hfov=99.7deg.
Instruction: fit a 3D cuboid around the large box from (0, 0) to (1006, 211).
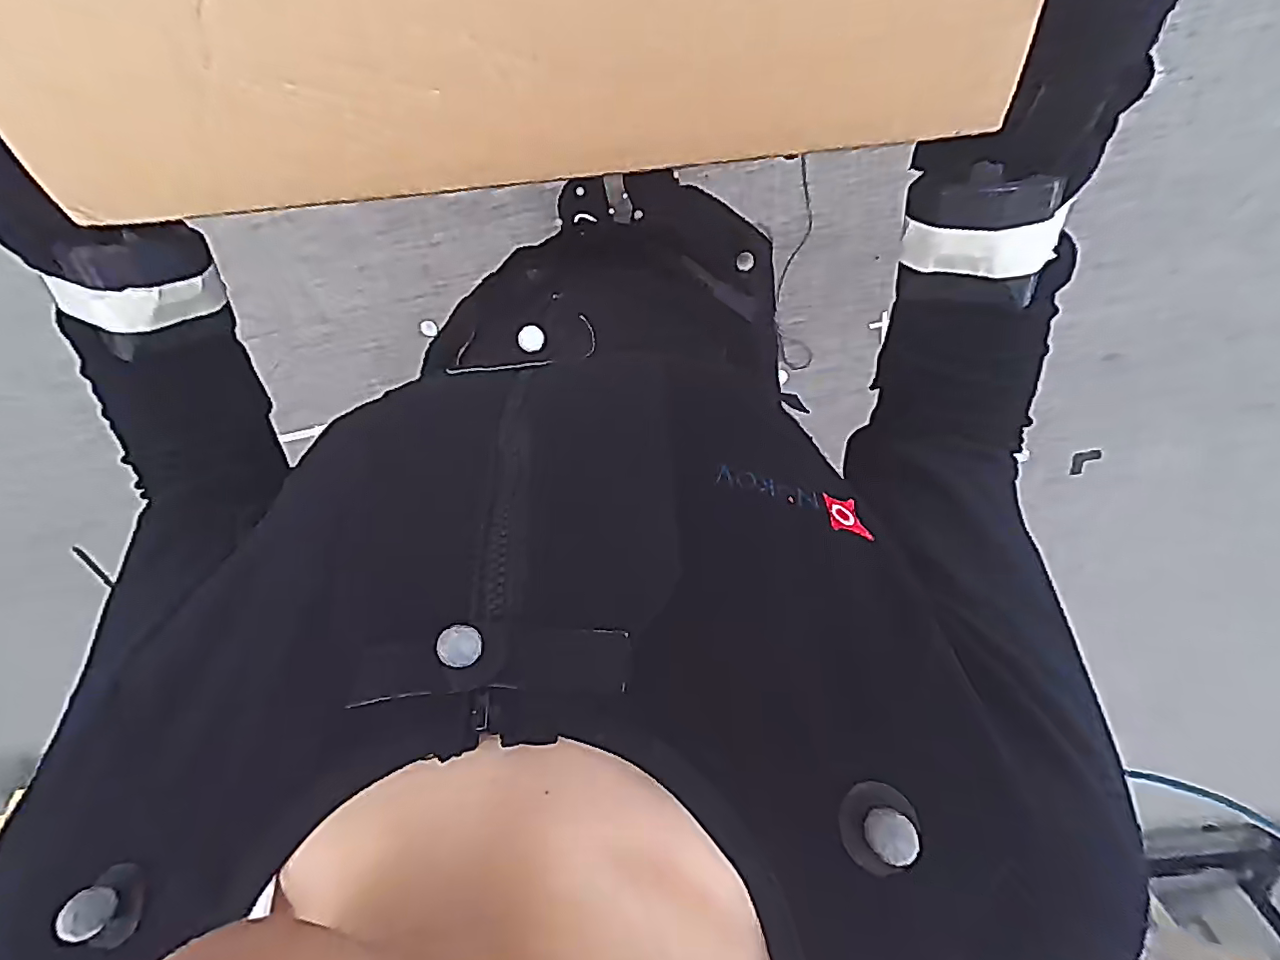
[{"bbox_3d":[-0.070,-0.354,0.235,0.408,0.320,0.320,-4,135,4],"label":"large box"}]
